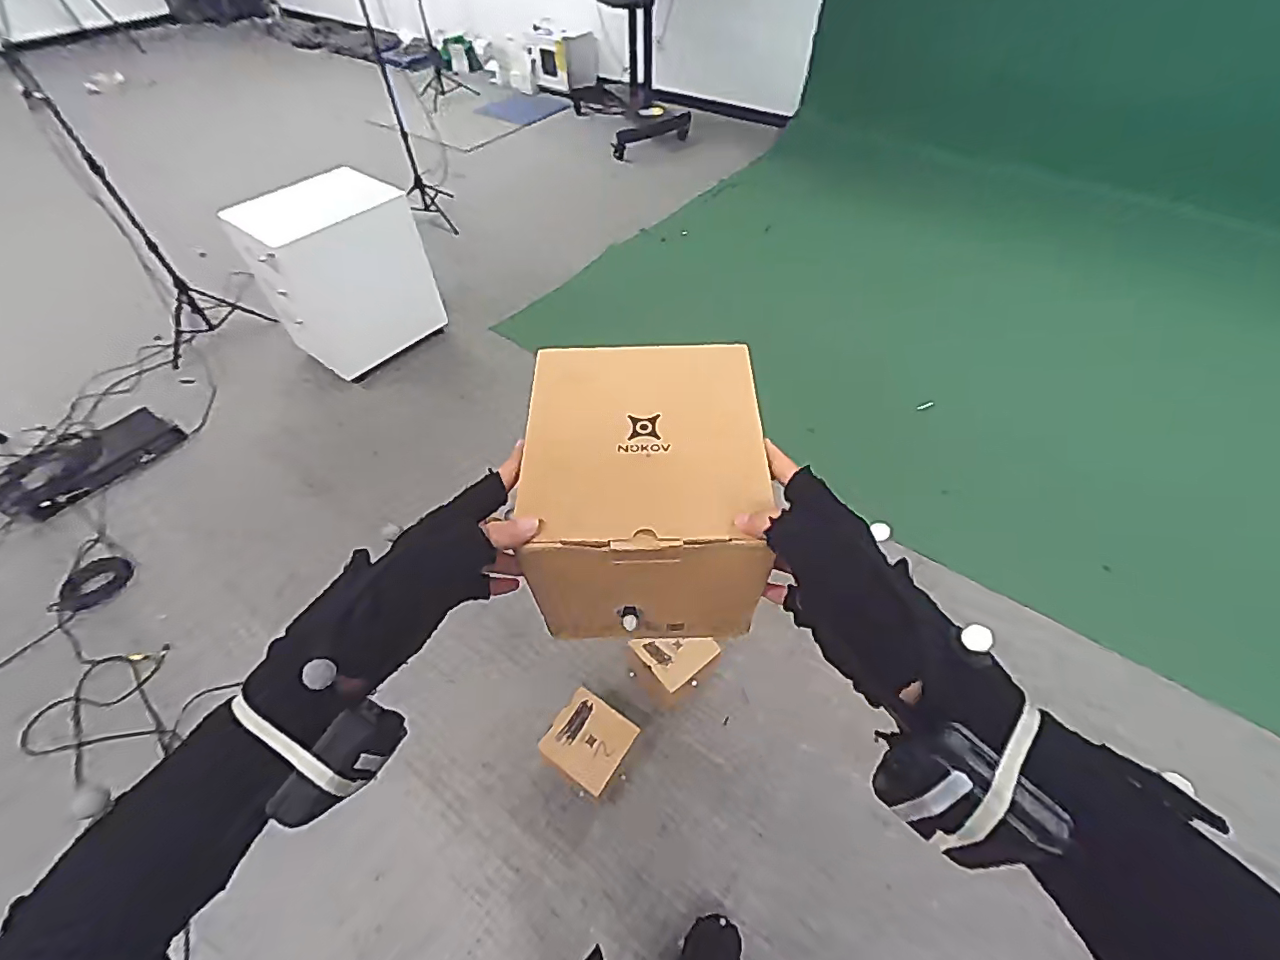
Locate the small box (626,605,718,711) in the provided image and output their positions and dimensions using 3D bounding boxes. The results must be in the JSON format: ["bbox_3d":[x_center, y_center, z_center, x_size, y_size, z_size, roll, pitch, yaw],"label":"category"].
[{"bbox_3d":[0.081,0.467,1.409,0.179,0.176,0.168,-32,58,-25],"label":"small box"}]
